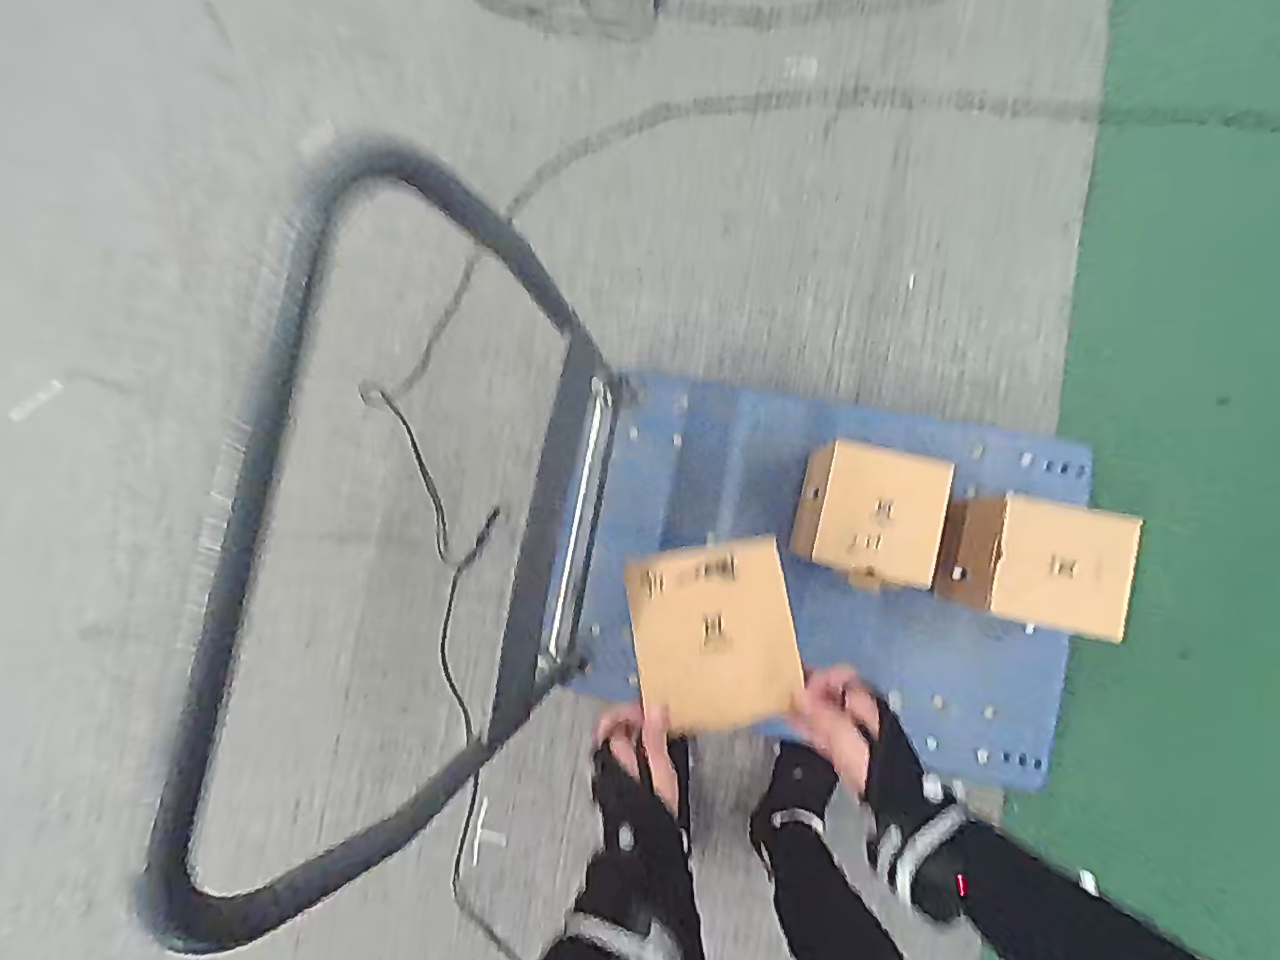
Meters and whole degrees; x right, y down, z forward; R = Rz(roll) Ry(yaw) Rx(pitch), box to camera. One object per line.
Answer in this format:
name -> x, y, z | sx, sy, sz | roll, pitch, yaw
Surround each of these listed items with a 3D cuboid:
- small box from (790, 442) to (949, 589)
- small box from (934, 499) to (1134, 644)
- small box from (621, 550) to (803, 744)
small box -> 0.343, 0.055, 0.841 | 0.168, 0.176, 0.179 | 14, 87, 7
small box -> 0.576, 0.131, 0.815 | 0.179, 0.176, 0.168 | 12, 87, 6
small box -> 0.072, 0.182, 0.627 | 0.168, 0.176, 0.179 | -8, 78, -2
